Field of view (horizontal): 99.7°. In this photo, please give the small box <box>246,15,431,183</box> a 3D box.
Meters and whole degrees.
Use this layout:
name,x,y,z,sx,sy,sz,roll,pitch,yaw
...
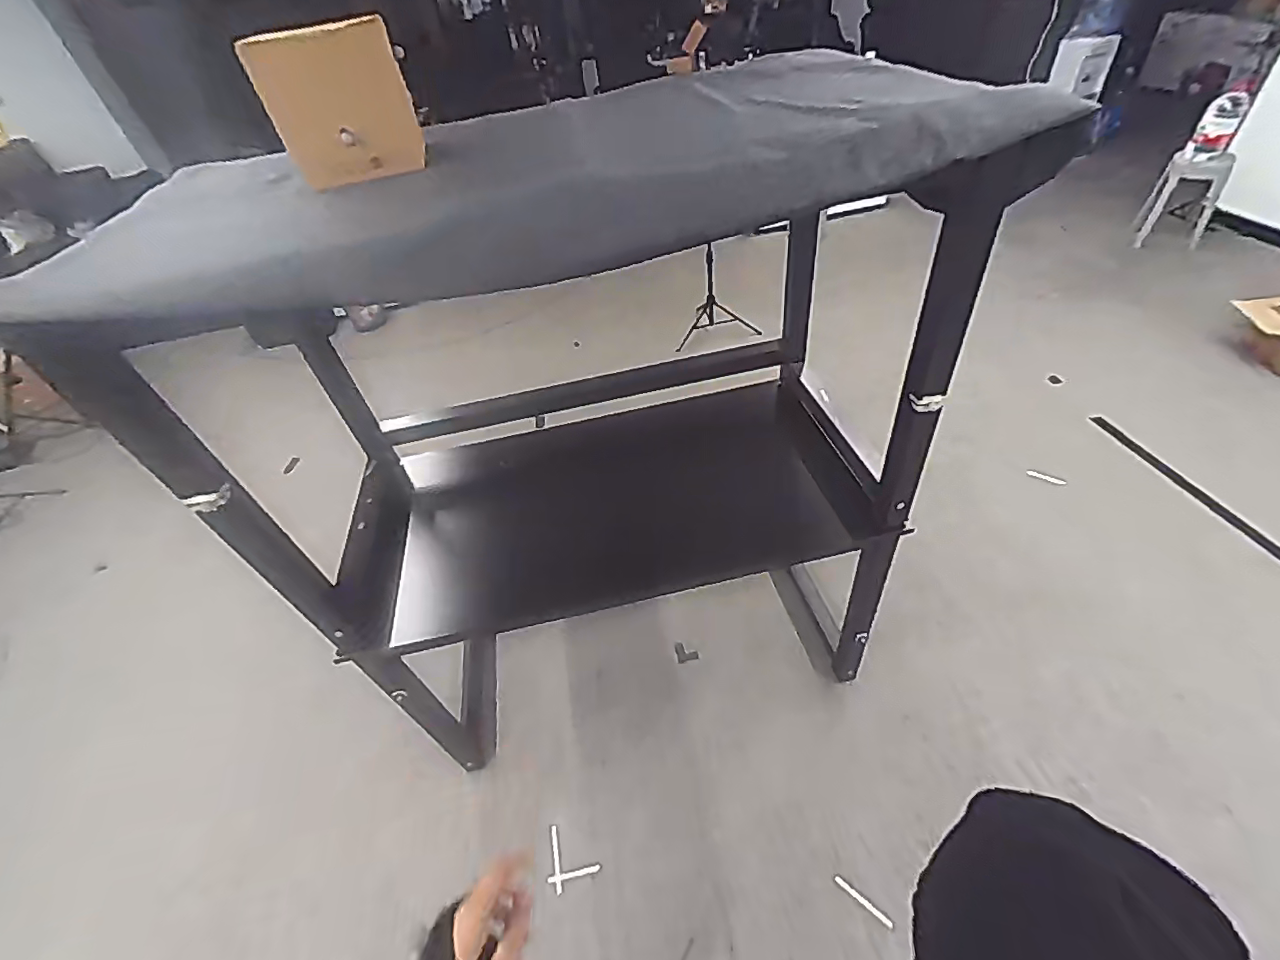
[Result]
name,x,y,z,sx,sy,sz,roll,pitch,yaw
small box,-0.416,-0.550,0.783,0.168,0.176,0.179,-16,44,-6
